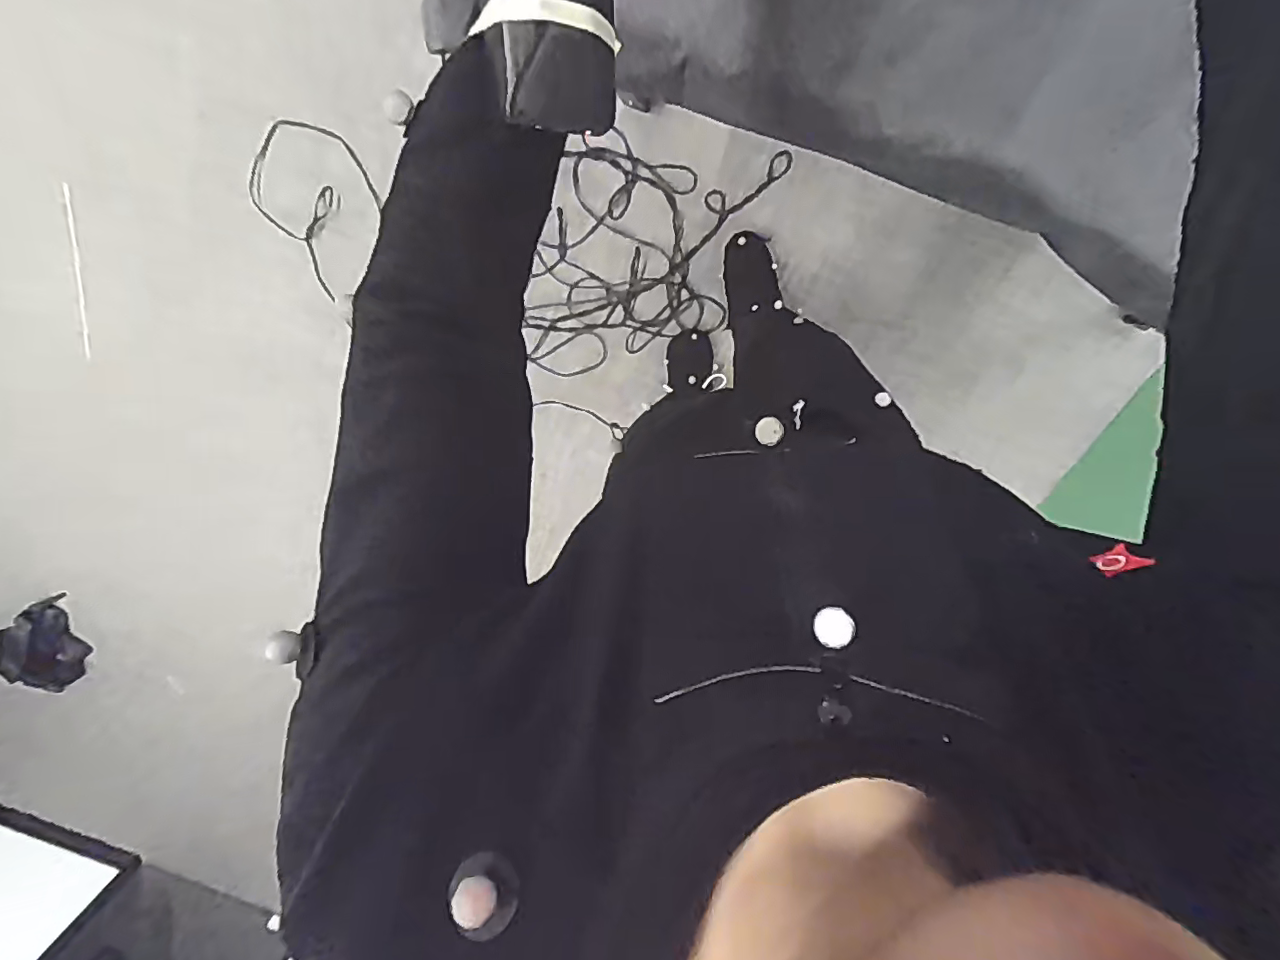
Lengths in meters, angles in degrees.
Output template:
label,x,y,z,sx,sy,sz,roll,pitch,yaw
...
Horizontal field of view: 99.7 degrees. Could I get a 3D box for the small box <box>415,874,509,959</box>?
label,x,y,z,sx,sy,sz,roll,pitch,yaw
small box,-0.483,1.235,1.490,0.168,0.176,0.179,30,117,-2
